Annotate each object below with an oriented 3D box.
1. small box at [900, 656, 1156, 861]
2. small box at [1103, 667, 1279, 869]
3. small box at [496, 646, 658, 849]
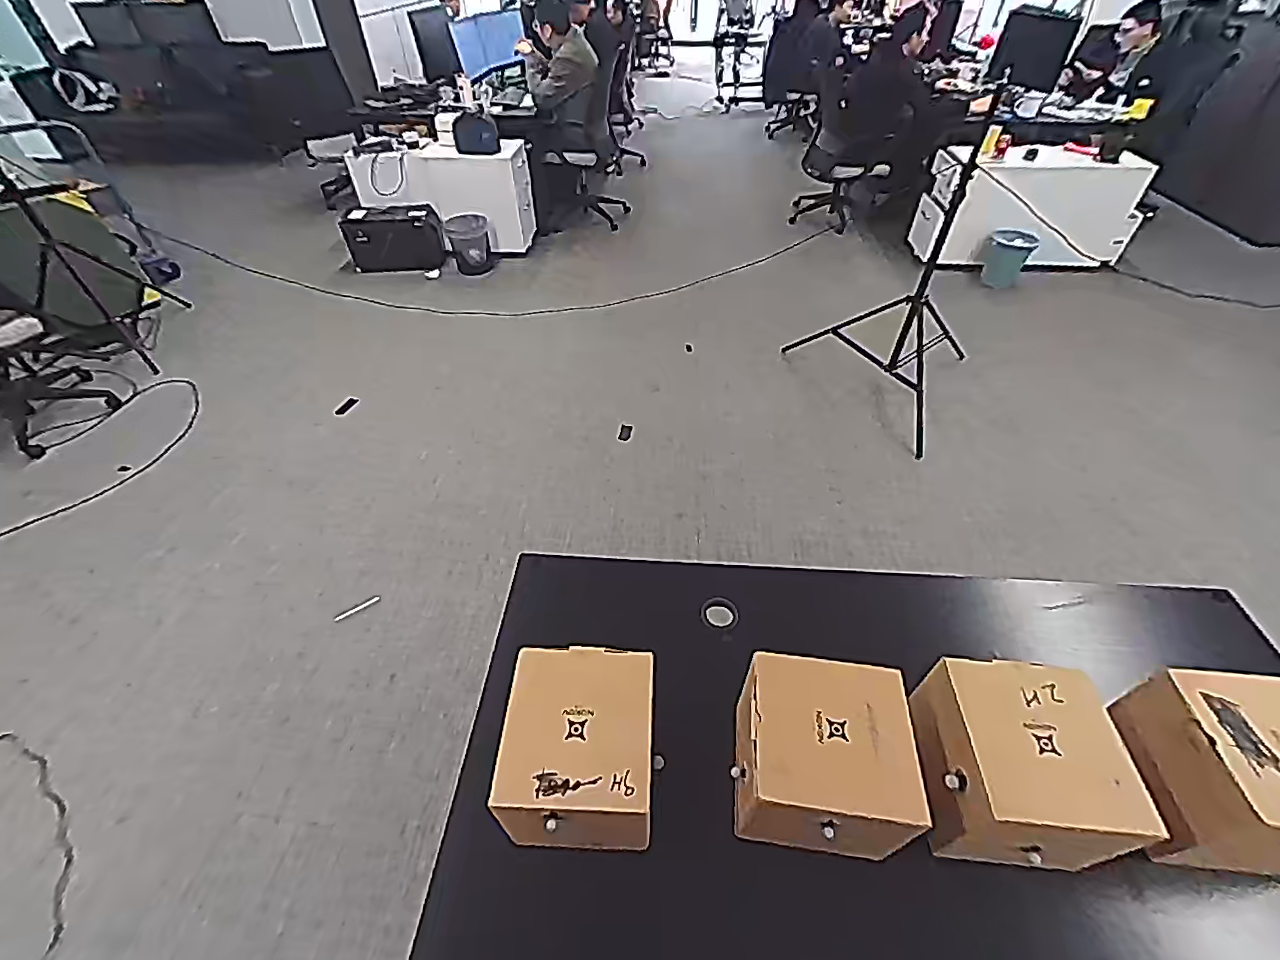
[{"bbox_3d":[0.441,0.340,0.655,0.168,0.176,0.179,4,45,4],"label":"small box"},{"bbox_3d":[0.702,0.345,0.646,0.179,0.176,0.168,4,45,4],"label":"small box"},{"bbox_3d":[-0.064,0.330,0.670,0.168,0.176,0.179,1,45,3],"label":"small box"}]
